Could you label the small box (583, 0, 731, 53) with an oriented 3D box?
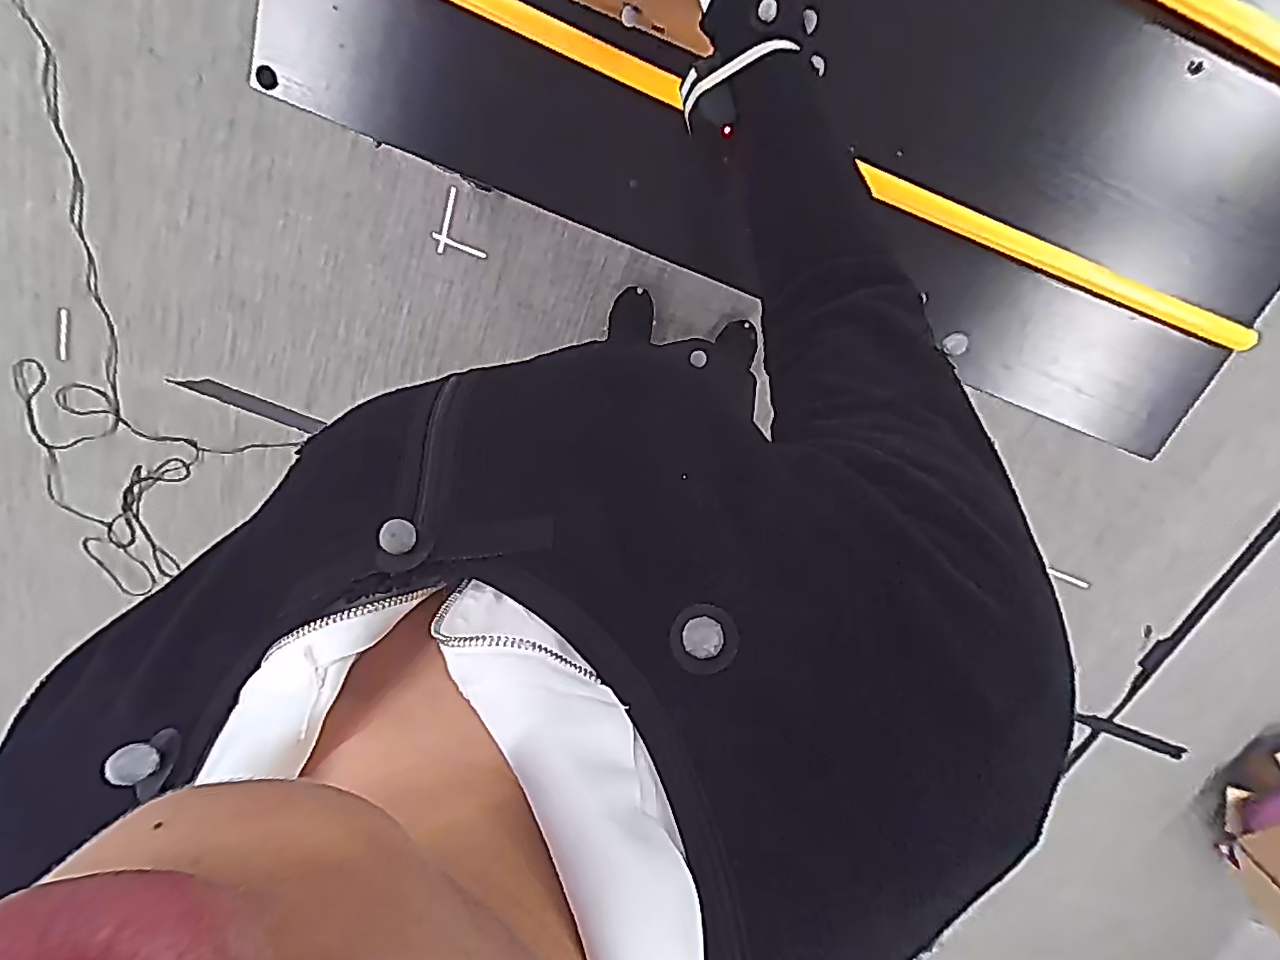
[{"bbox_3d":[0.031,-0.533,0.475,0.168,0.176,0.179,19,110,-6],"label":"small box"}]
